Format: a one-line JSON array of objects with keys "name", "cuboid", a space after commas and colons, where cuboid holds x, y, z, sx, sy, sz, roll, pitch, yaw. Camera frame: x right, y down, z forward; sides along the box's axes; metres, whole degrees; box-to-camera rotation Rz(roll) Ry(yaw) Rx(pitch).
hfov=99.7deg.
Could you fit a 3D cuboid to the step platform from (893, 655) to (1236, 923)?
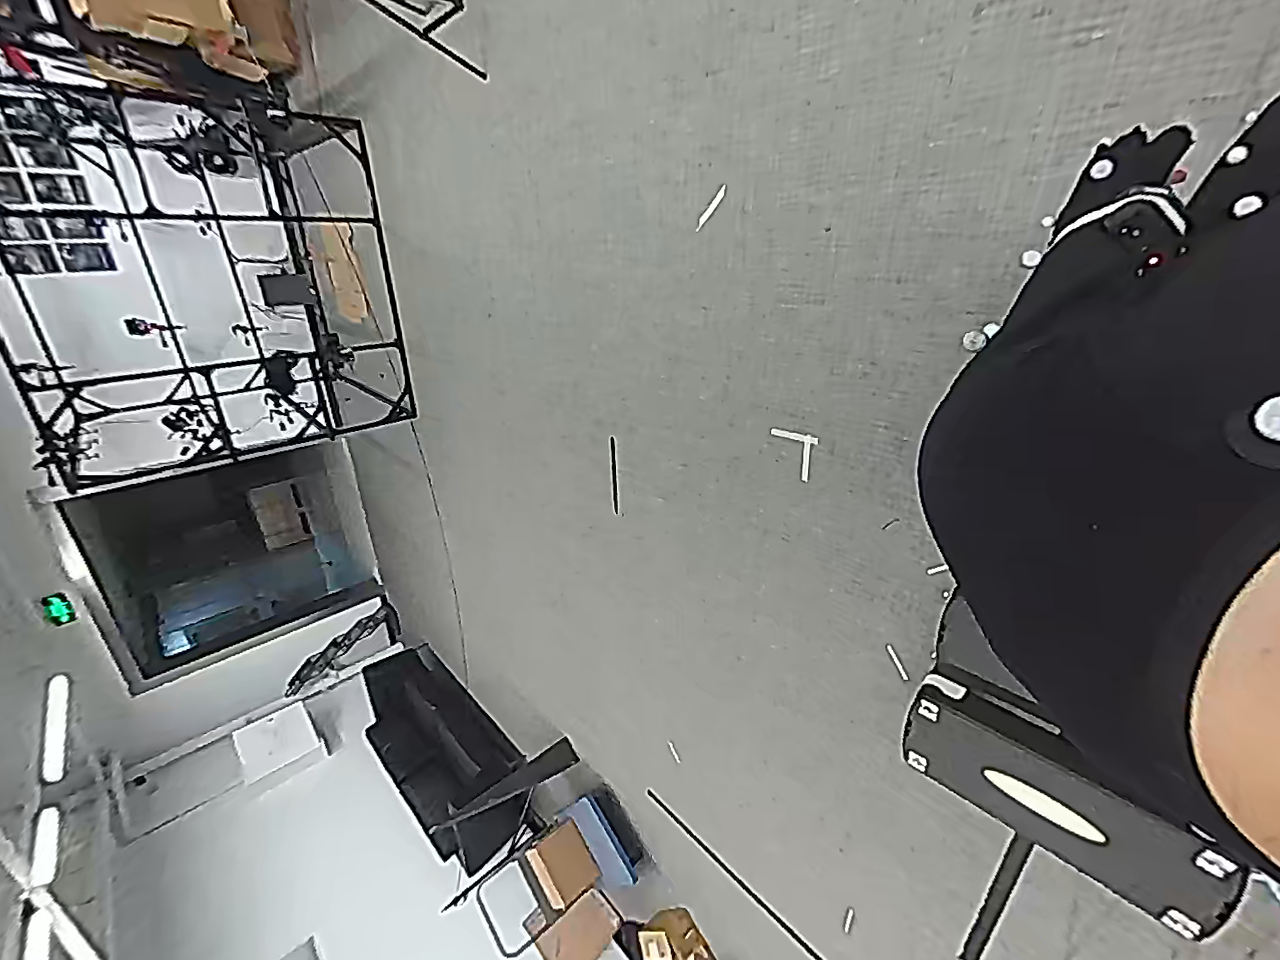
[{"name": "step platform", "cuboid": [1.032, 0.756, 1.405, 0.684, 0.204, 0.286, 22, 123, 44]}]
